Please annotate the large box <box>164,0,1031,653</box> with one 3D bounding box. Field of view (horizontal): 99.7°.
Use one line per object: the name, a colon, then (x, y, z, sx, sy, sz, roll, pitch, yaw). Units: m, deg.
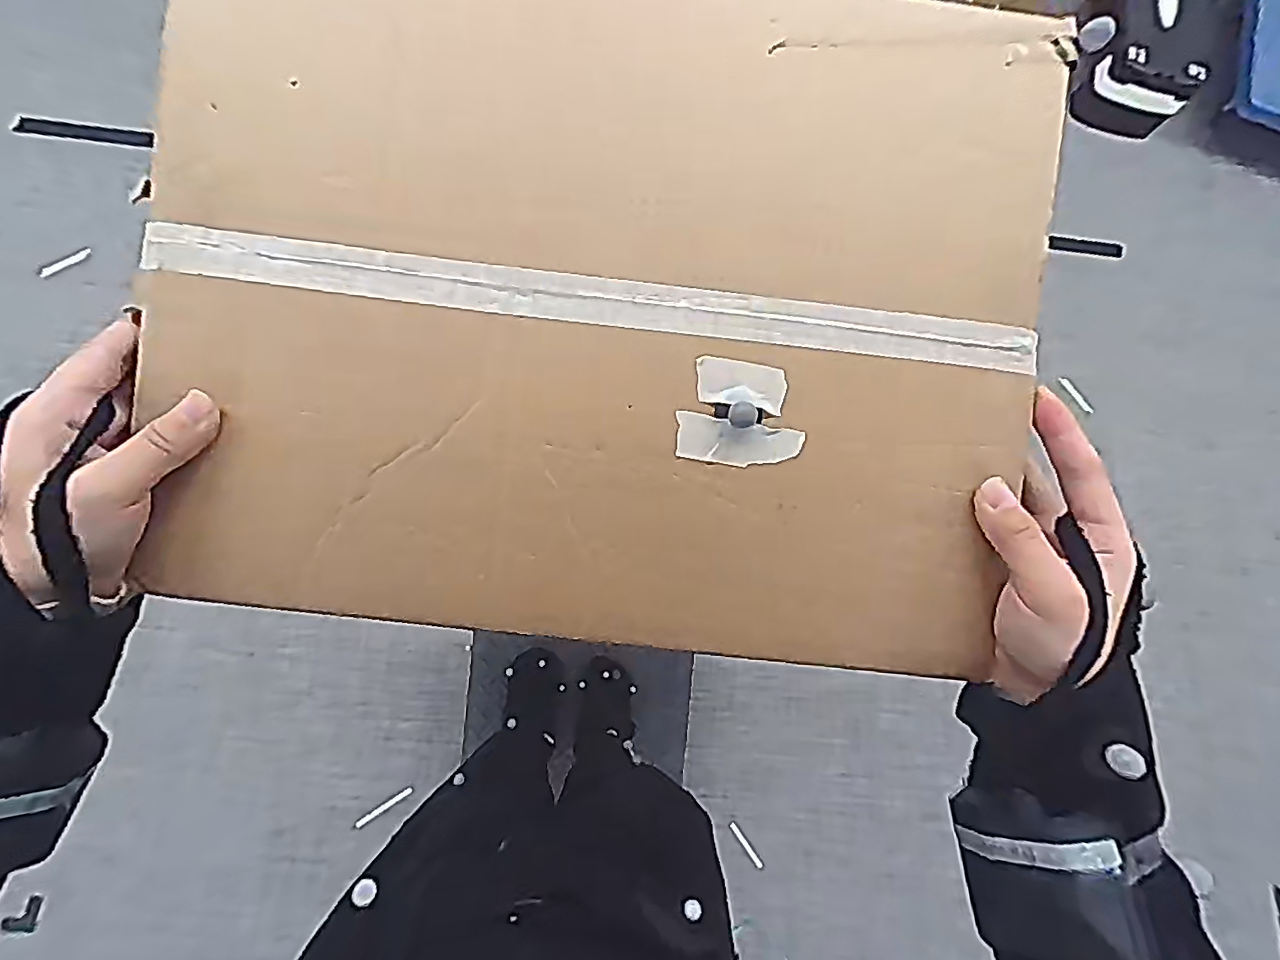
large box: (-0.022, -0.084, 0.413, 0.408, 0.320, 0.320, 7, 91, -2)
